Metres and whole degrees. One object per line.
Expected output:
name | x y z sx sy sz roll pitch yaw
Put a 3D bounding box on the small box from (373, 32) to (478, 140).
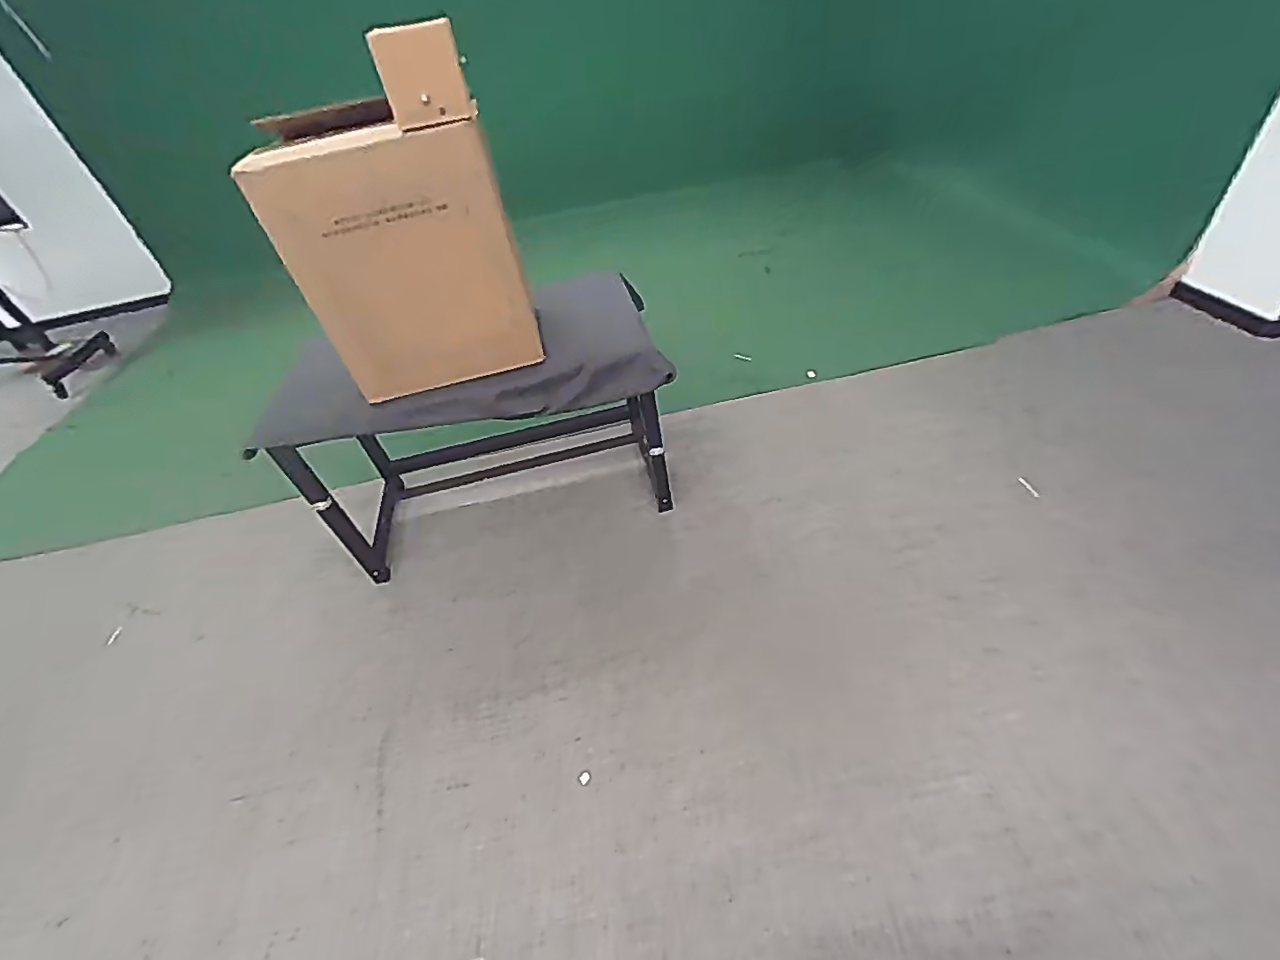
small box | -0.473 -0.888 1.221 0.168 0.176 0.179 -15 44 -4
